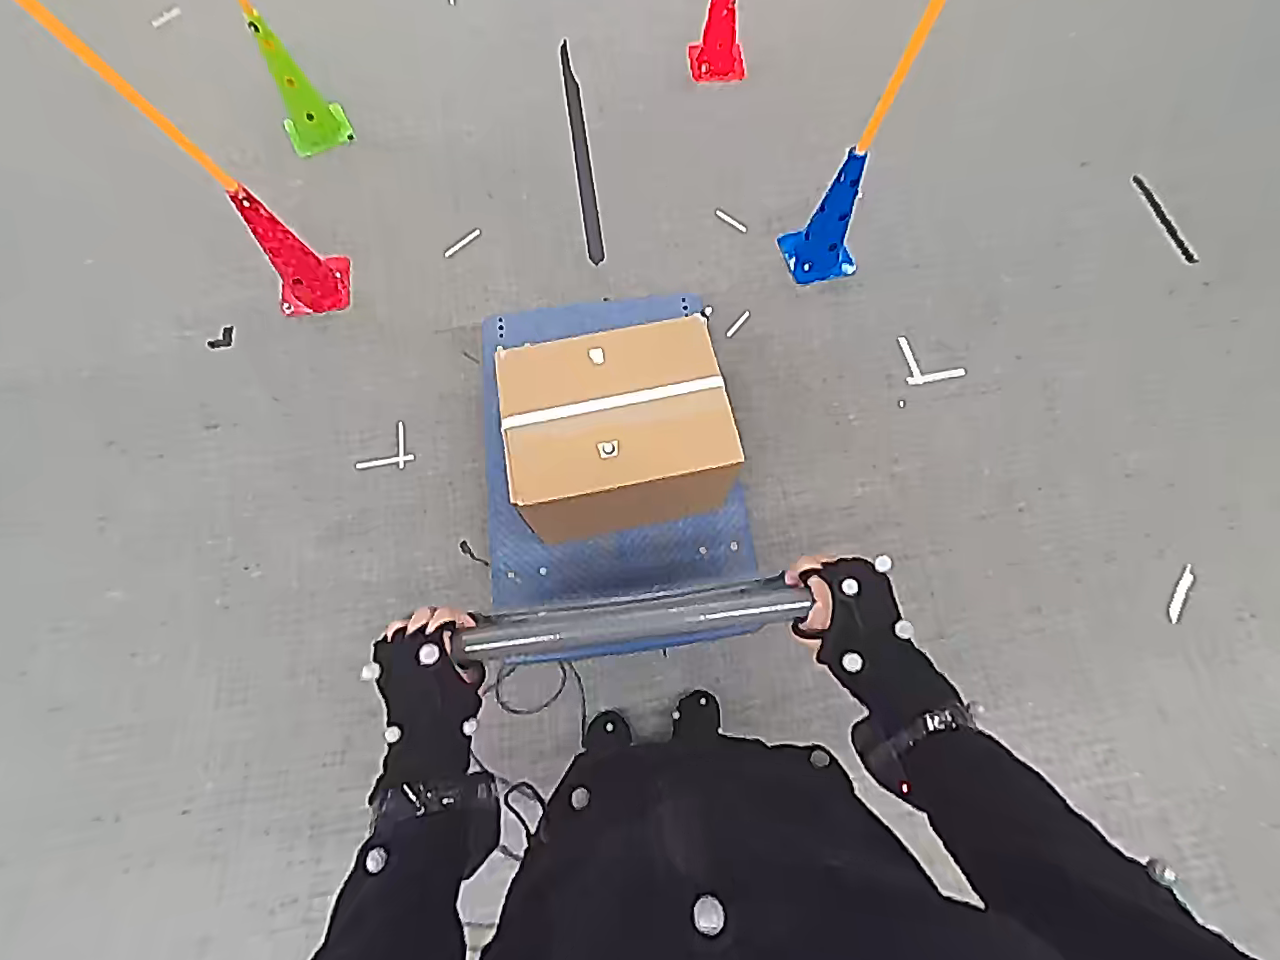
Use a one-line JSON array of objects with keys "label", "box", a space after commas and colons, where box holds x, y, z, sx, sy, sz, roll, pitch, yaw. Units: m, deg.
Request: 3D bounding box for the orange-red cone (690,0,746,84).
[{"label": "orange-red cone", "box": [0.289, -1.590, 1.831, 0.199, 0.360, 0.198, -2, 71, -2]}]

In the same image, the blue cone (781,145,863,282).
[{"label": "blue cone", "box": [0.555, -0.766, 1.548, 0.193, 0.380, 0.192, -12, 69, -5]}]
